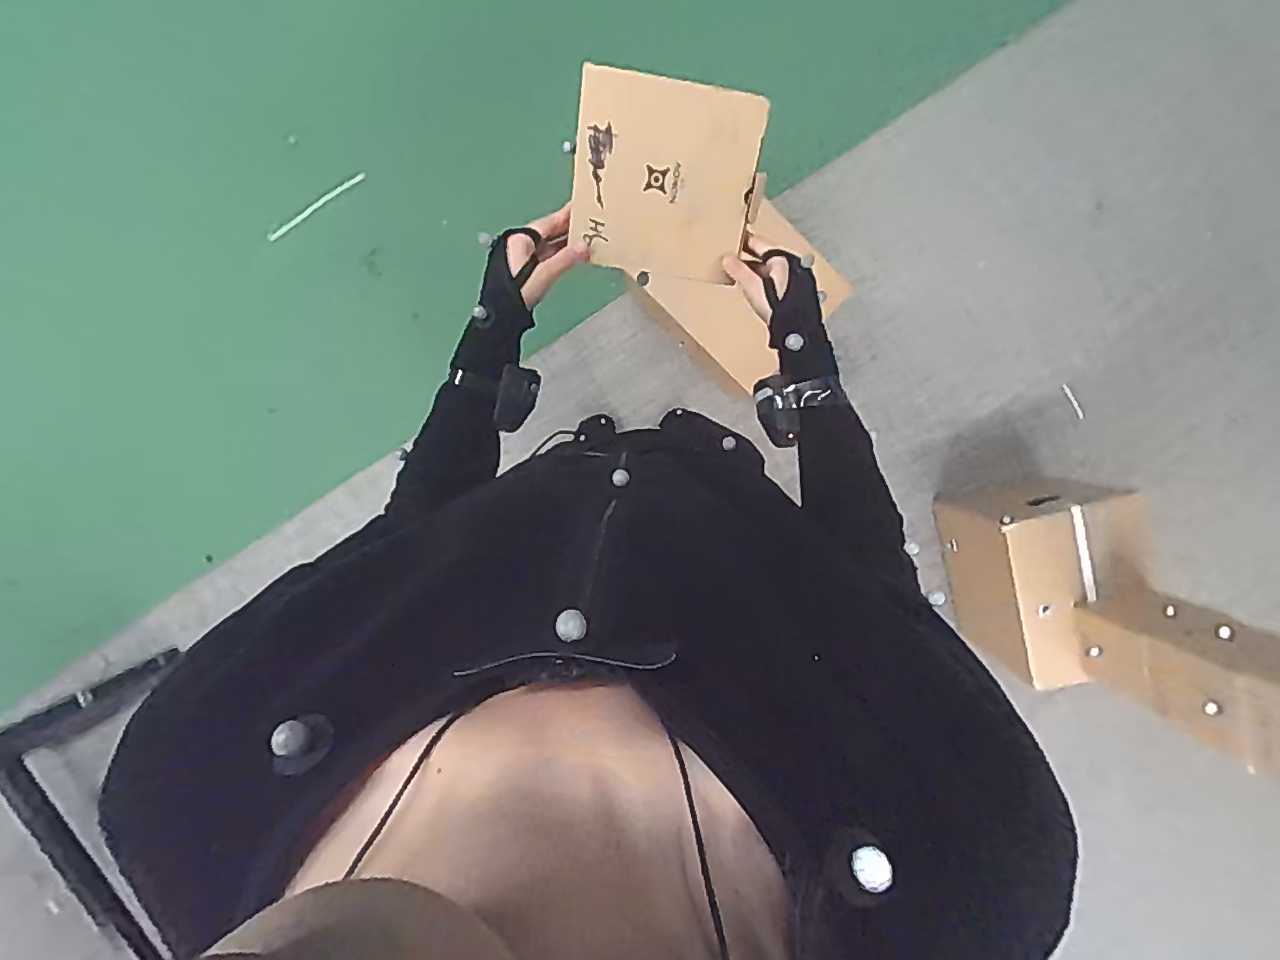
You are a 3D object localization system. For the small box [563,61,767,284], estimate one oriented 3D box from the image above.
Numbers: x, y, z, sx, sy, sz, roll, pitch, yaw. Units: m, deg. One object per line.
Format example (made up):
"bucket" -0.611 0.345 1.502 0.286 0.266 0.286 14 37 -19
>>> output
"small box" 0.014 -0.316 0.588 0.179 0.176 0.168 6 112 -7

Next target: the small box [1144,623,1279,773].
"small box" 1.048 0.375 0.953 0.168 0.176 0.179 -11 95 2

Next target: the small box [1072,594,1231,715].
"small box" 1.049 0.349 1.113 0.179 0.176 0.168 -13 96 2

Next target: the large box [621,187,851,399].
"large box" 0.214 -0.444 1.302 0.408 0.320 0.320 45 95 -2
